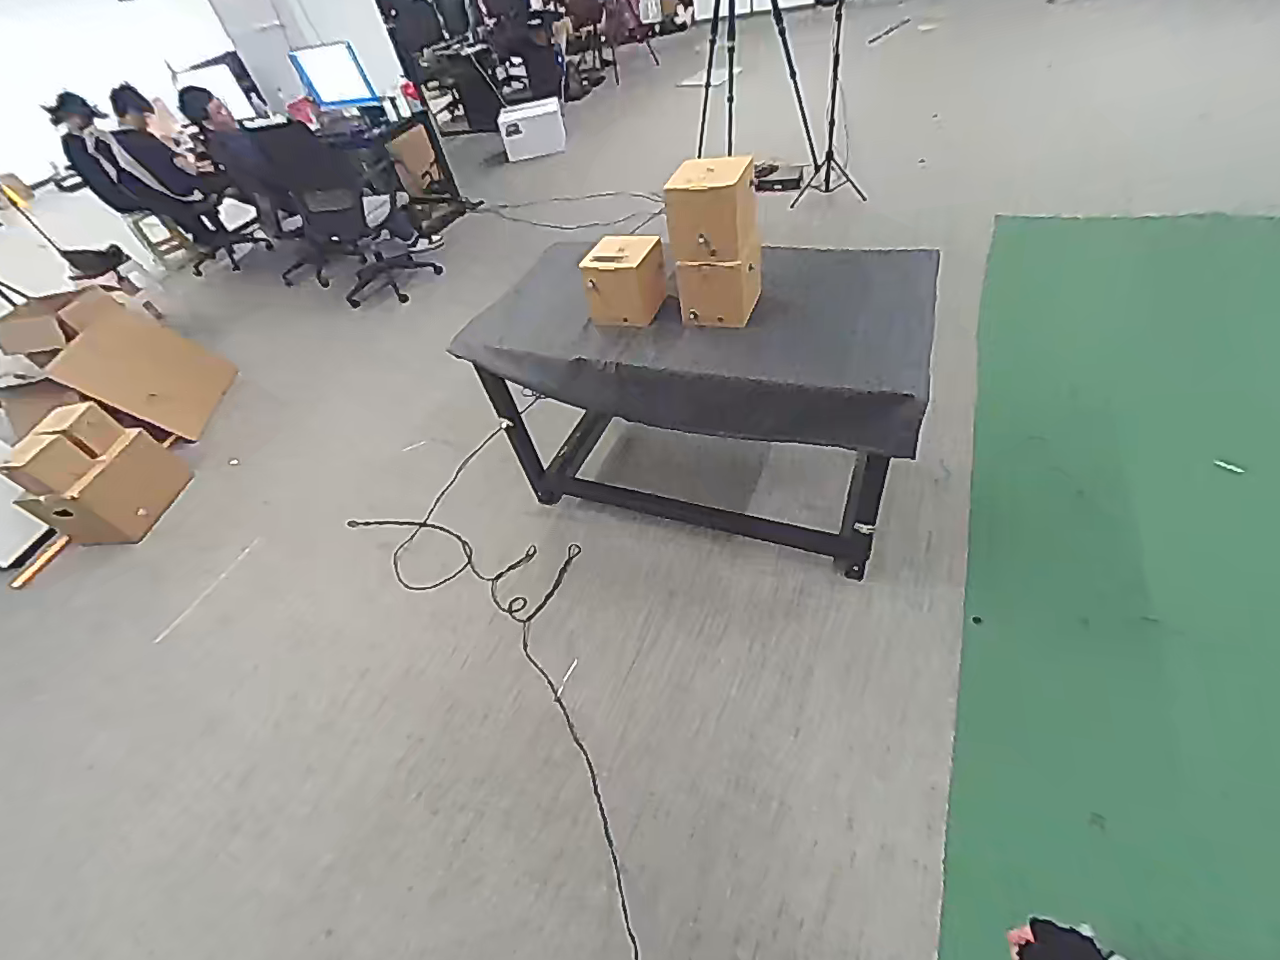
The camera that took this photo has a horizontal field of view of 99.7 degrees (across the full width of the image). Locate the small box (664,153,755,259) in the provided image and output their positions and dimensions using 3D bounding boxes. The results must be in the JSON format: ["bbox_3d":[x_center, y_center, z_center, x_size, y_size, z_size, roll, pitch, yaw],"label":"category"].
[{"bbox_3d":[0.169,-0.637,1.263,0.168,0.176,0.179,9,51,22],"label":"small box"}]

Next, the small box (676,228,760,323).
[{"bbox_3d":[0.205,-0.515,1.368,0.168,0.176,0.179,11,51,22],"label":"small box"}]
